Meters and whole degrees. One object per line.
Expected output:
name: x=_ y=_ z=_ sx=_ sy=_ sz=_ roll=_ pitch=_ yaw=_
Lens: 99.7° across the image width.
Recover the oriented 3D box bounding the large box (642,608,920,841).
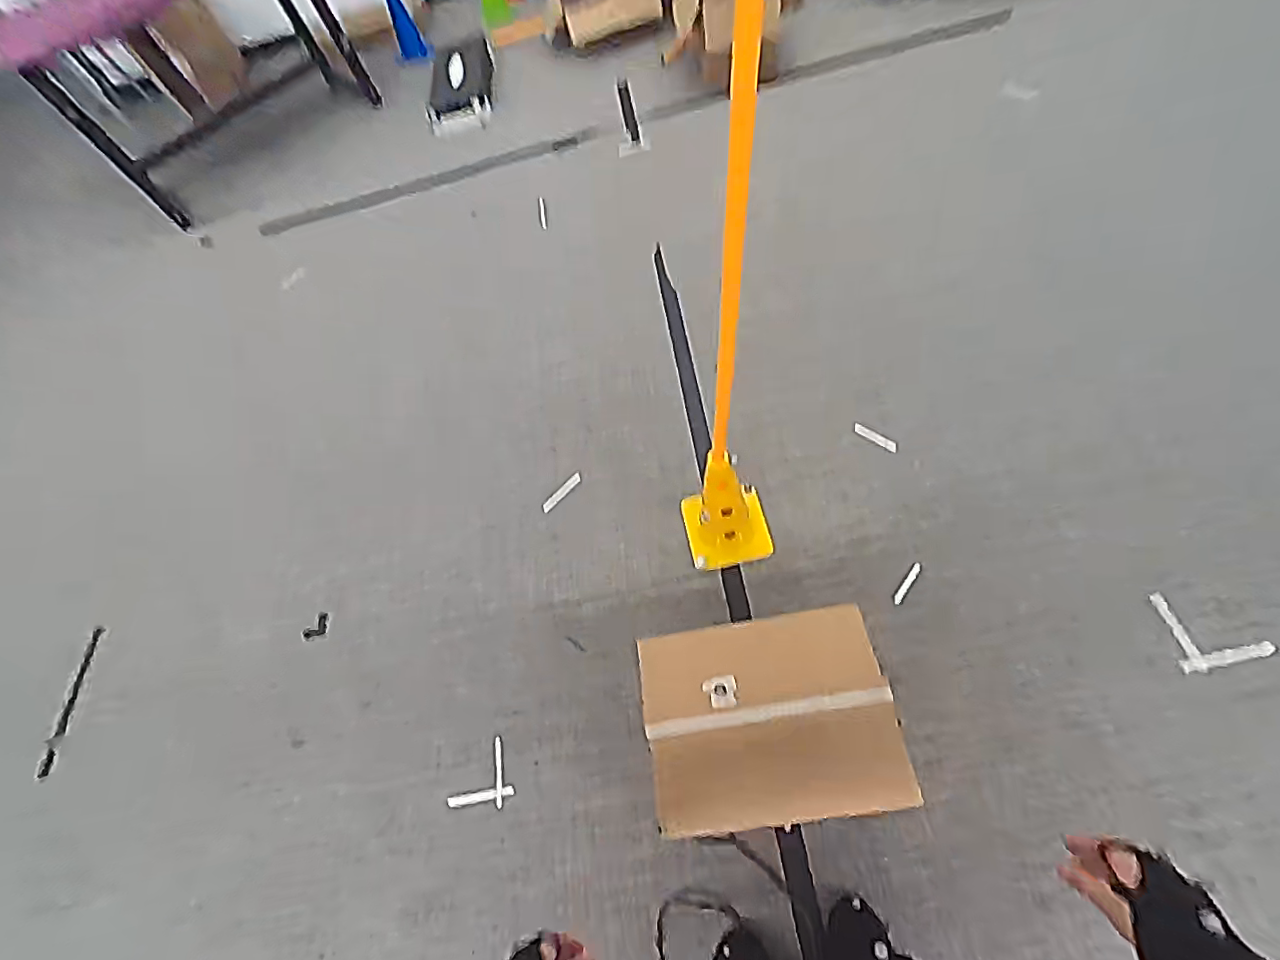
large box: x=0.245 y=0.472 z=1.039 sx=0.408 sy=0.320 sz=0.320 roll=-12 pitch=58 yaw=7
